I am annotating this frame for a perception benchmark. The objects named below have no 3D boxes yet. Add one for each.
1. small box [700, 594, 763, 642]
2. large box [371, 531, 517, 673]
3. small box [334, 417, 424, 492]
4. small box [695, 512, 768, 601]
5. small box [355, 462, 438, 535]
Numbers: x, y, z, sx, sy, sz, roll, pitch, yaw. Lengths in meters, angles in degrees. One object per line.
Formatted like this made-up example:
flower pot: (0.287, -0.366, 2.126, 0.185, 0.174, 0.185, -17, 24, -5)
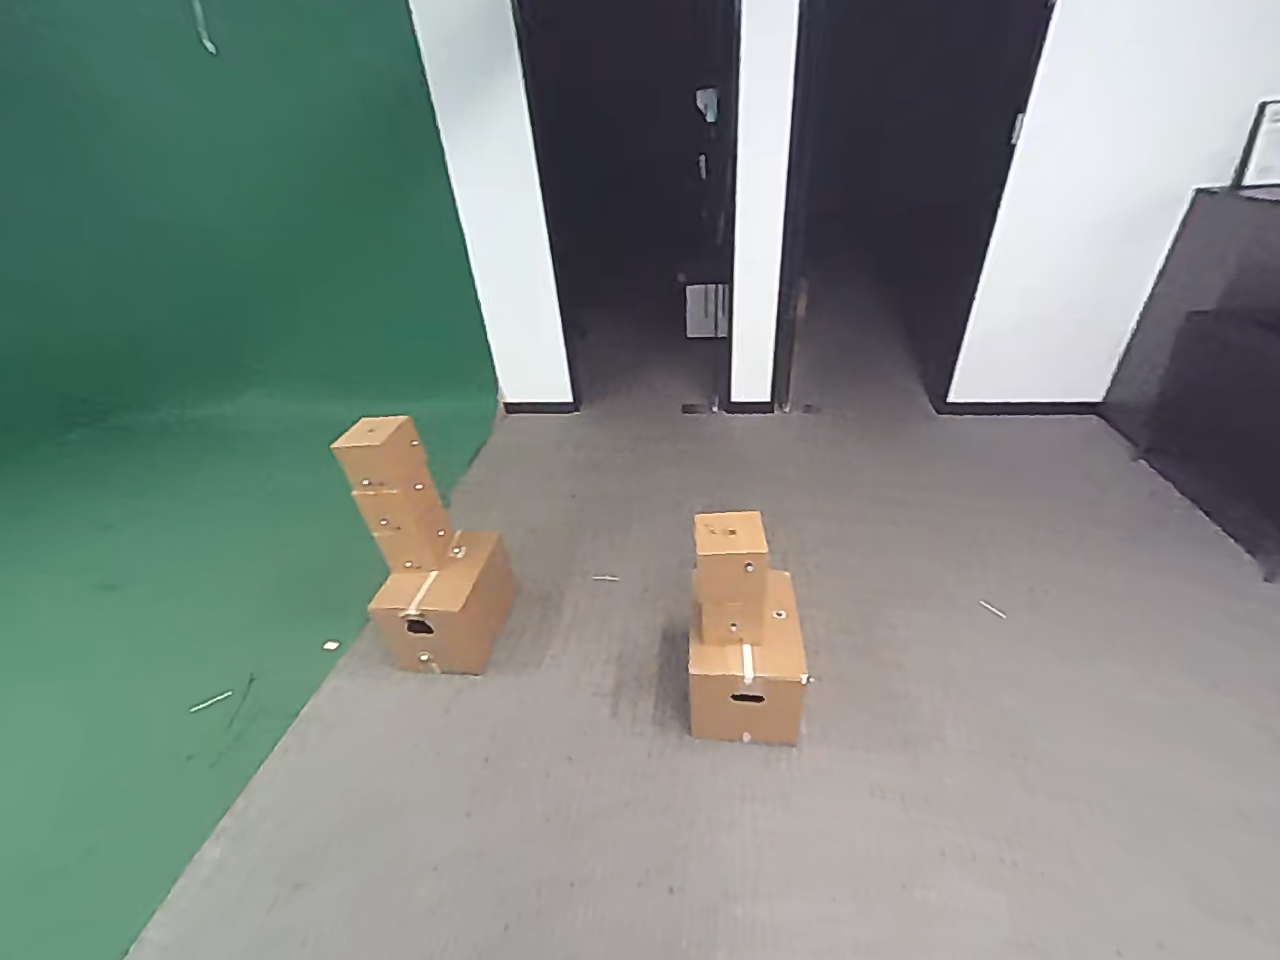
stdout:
small box: (0.253, 0.338, 1.514, 0.168, 0.176, 0.179, -3, 35, 6)
large box: (-0.672, 0.429, 1.931, 0.320, 0.320, 0.408, 0, 33, 8)
small box: (-0.796, -0.079, 1.677, 0.168, 0.176, 0.179, -2, 35, 11)
small box: (0.235, 0.203, 1.419, 0.179, 0.176, 0.168, -3, 33, 6)
small box: (-0.782, 0.060, 1.763, 0.168, 0.176, 0.179, -3, 35, 9)
